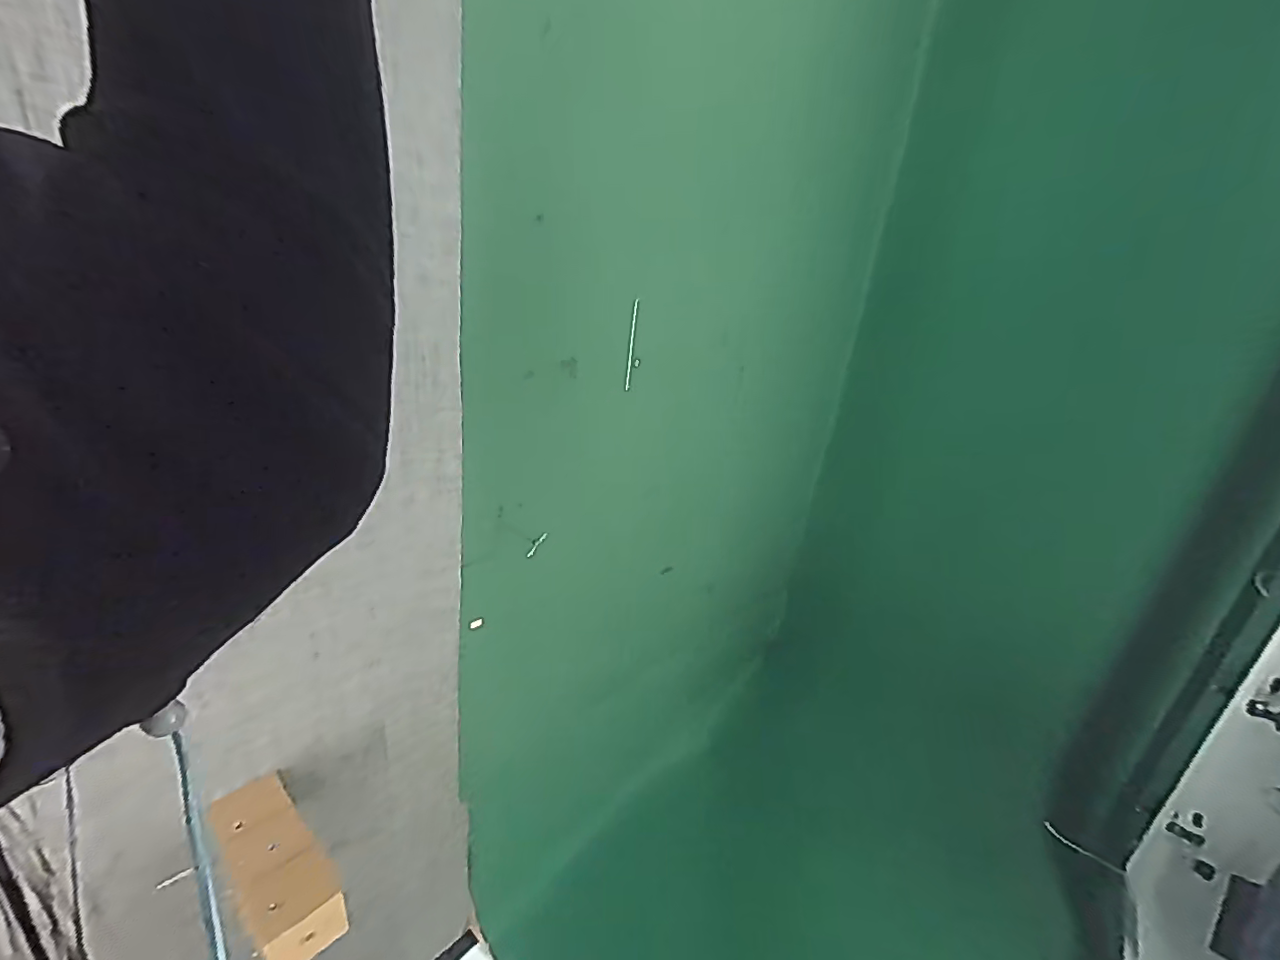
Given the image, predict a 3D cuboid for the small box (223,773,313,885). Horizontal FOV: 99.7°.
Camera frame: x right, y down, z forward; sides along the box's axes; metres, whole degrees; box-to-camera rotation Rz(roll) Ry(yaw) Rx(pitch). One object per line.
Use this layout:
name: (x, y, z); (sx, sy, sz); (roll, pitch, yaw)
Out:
small box: (-1.095, 1.015, 1.587); (0.179, 0.176, 0.168); (-18, 122, -46)

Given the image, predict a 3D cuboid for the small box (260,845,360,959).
small box: (-0.849, 1.103, 1.388); (0.179, 0.176, 0.168); (-19, 122, -47)
